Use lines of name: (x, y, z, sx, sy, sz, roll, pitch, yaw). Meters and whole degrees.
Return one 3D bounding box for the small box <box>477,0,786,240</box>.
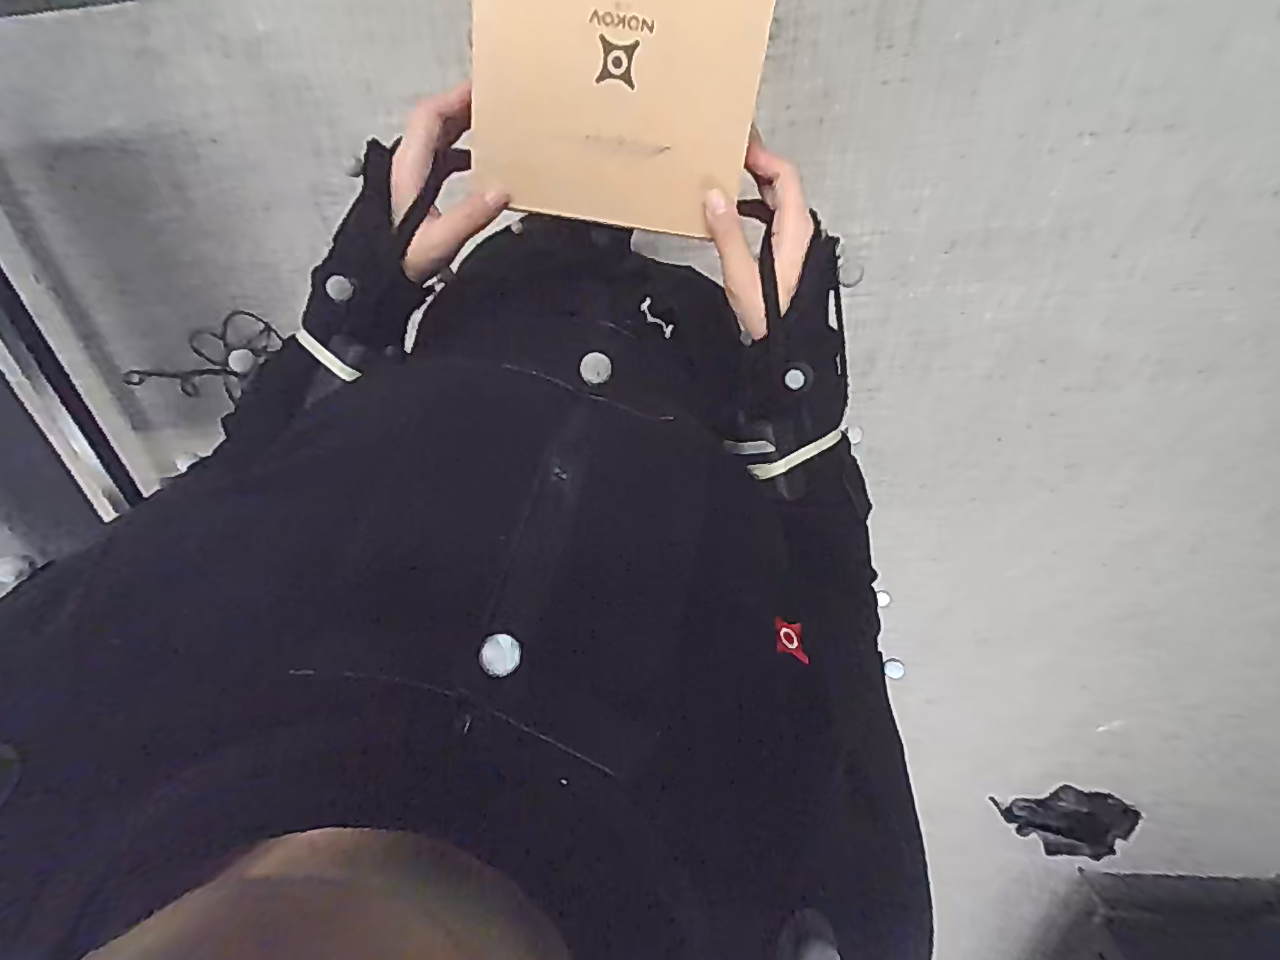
small box: (-0.005, -0.274, 0.375, 0.168, 0.176, 0.179, 8, 115, -2)
